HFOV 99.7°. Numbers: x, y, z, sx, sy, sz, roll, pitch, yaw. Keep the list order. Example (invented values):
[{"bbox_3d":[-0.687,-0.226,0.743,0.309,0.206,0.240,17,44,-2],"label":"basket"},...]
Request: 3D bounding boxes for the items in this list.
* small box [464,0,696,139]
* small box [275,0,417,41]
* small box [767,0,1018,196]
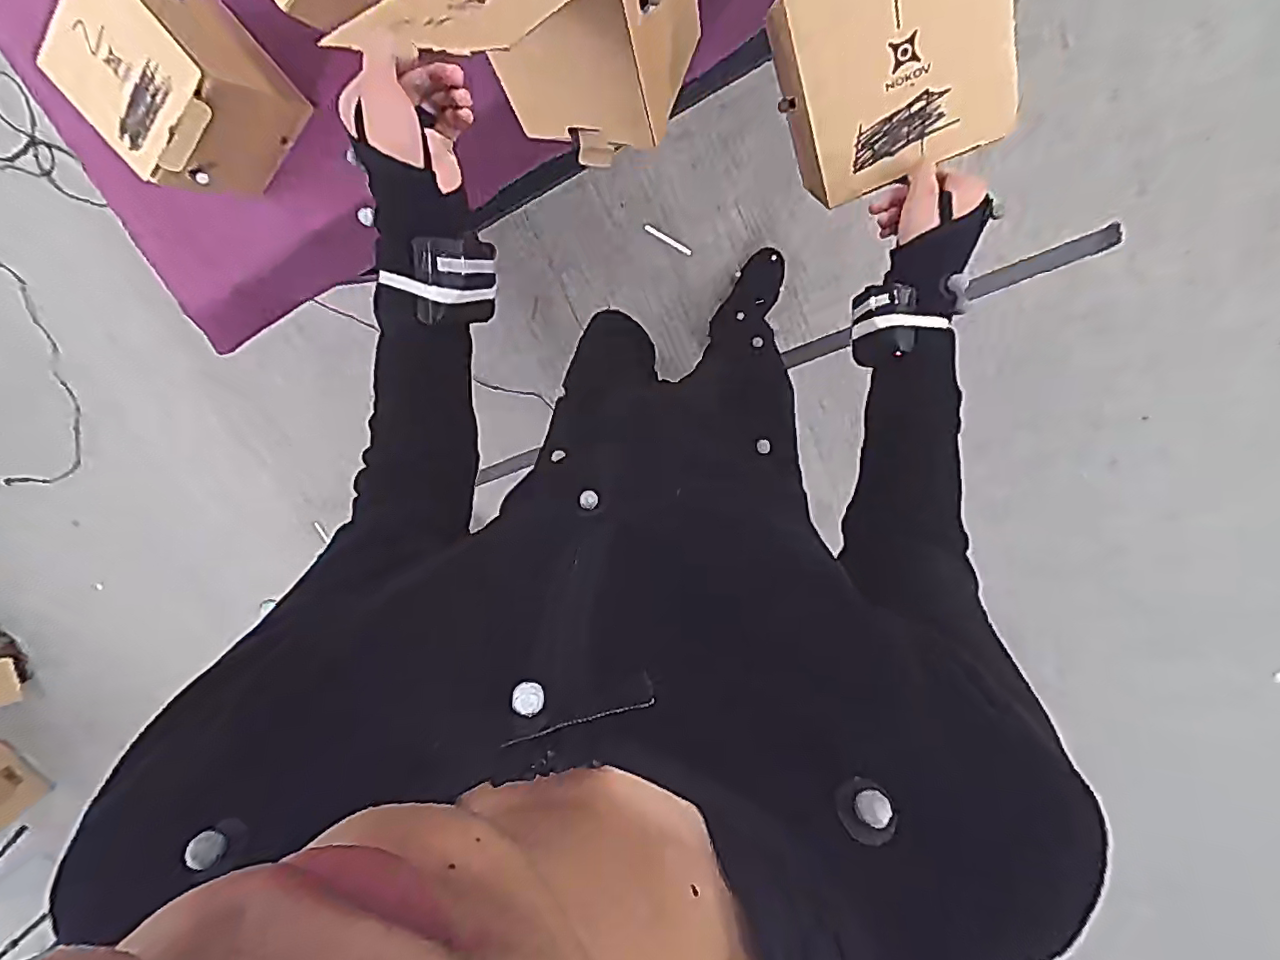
[{"bbox_3d":[-0.051,-0.485,0.536,0.168,0.179,0.176,16,80,16],"label":"small box"},{"bbox_3d":[-0.347,-0.635,0.596,0.168,0.176,0.179,-29,105,20],"label":"small box"},{"bbox_3d":[0.227,-0.403,0.513,0.168,0.176,0.179,-17,120,18],"label":"small box"}]
